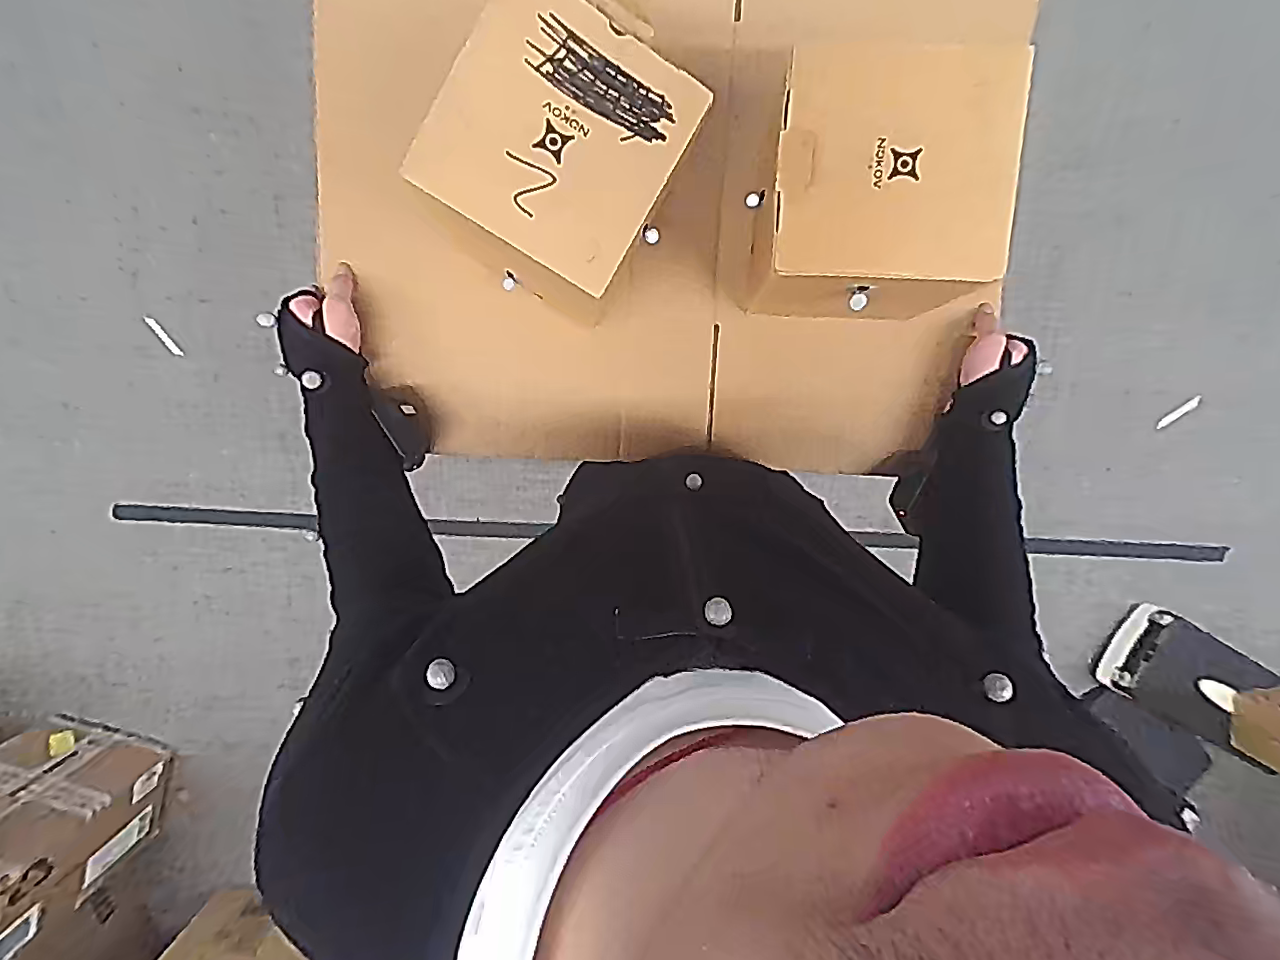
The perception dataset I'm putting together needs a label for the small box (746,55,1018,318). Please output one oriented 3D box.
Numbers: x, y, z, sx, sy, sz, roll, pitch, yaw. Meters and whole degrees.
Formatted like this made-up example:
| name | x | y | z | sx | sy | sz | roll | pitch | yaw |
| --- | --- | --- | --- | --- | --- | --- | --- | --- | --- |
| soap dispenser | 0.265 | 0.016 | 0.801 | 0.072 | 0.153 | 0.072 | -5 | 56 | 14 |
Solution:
| name | x | y | z | sx | sy | sz | roll | pitch | yaw |
| --- | --- | --- | --- | --- | --- | --- | --- | --- | --- |
| small box | 0.201 | -0.251 | 0.501 | 0.179 | 0.176 | 0.168 | 3 | 96 | 4 |
